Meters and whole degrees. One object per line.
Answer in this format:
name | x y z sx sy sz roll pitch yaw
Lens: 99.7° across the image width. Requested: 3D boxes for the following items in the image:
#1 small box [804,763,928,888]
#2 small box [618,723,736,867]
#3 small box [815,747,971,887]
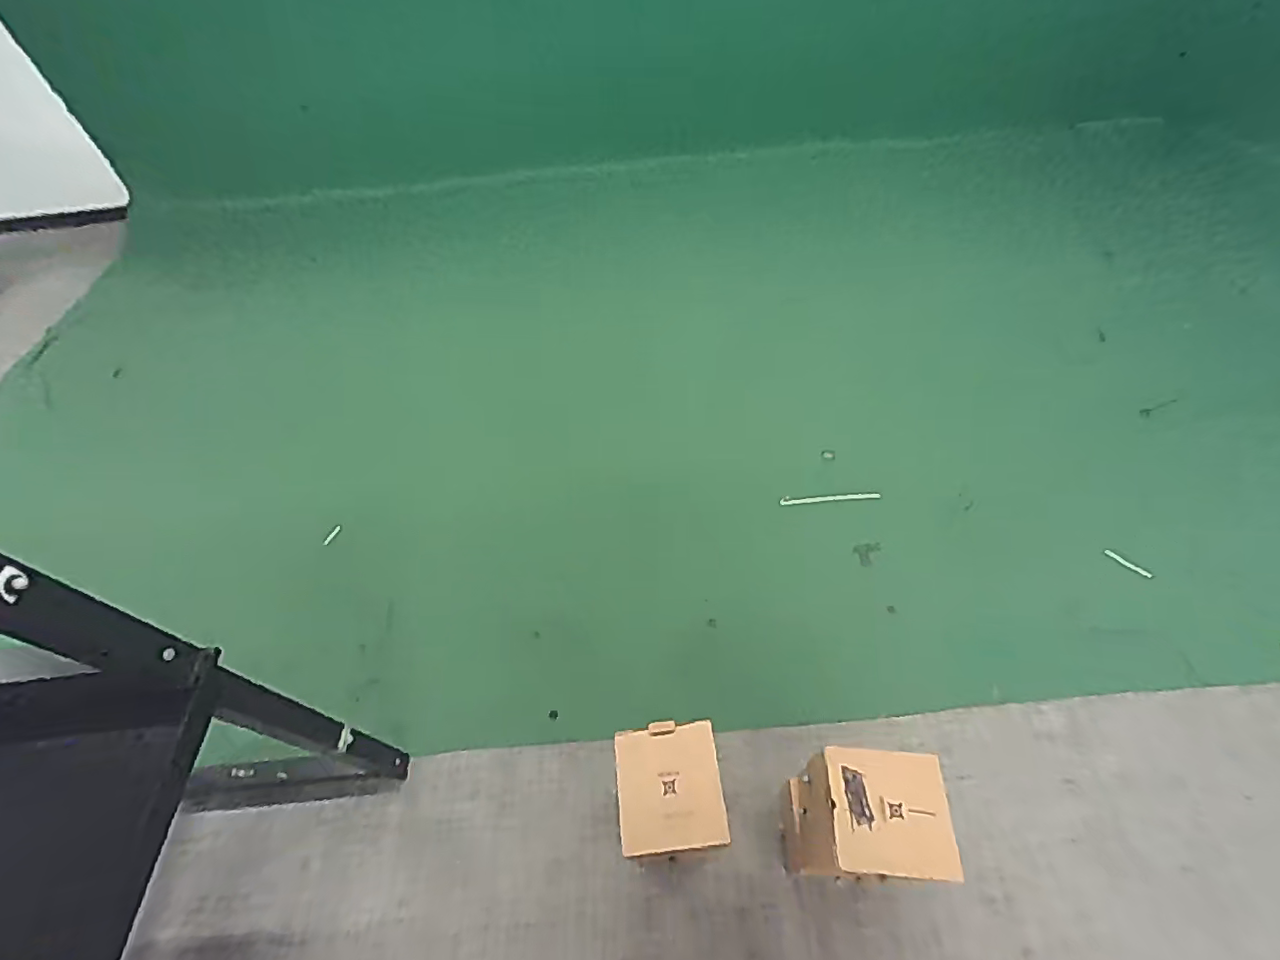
small box | 0.401 0.634 0.990 0.179 0.176 0.168 4 55 8
small box | 0.058 0.526 0.901 0.168 0.176 0.179 -9 53 1
small box | 0.382 0.537 0.859 0.179 0.176 0.168 2 54 6
